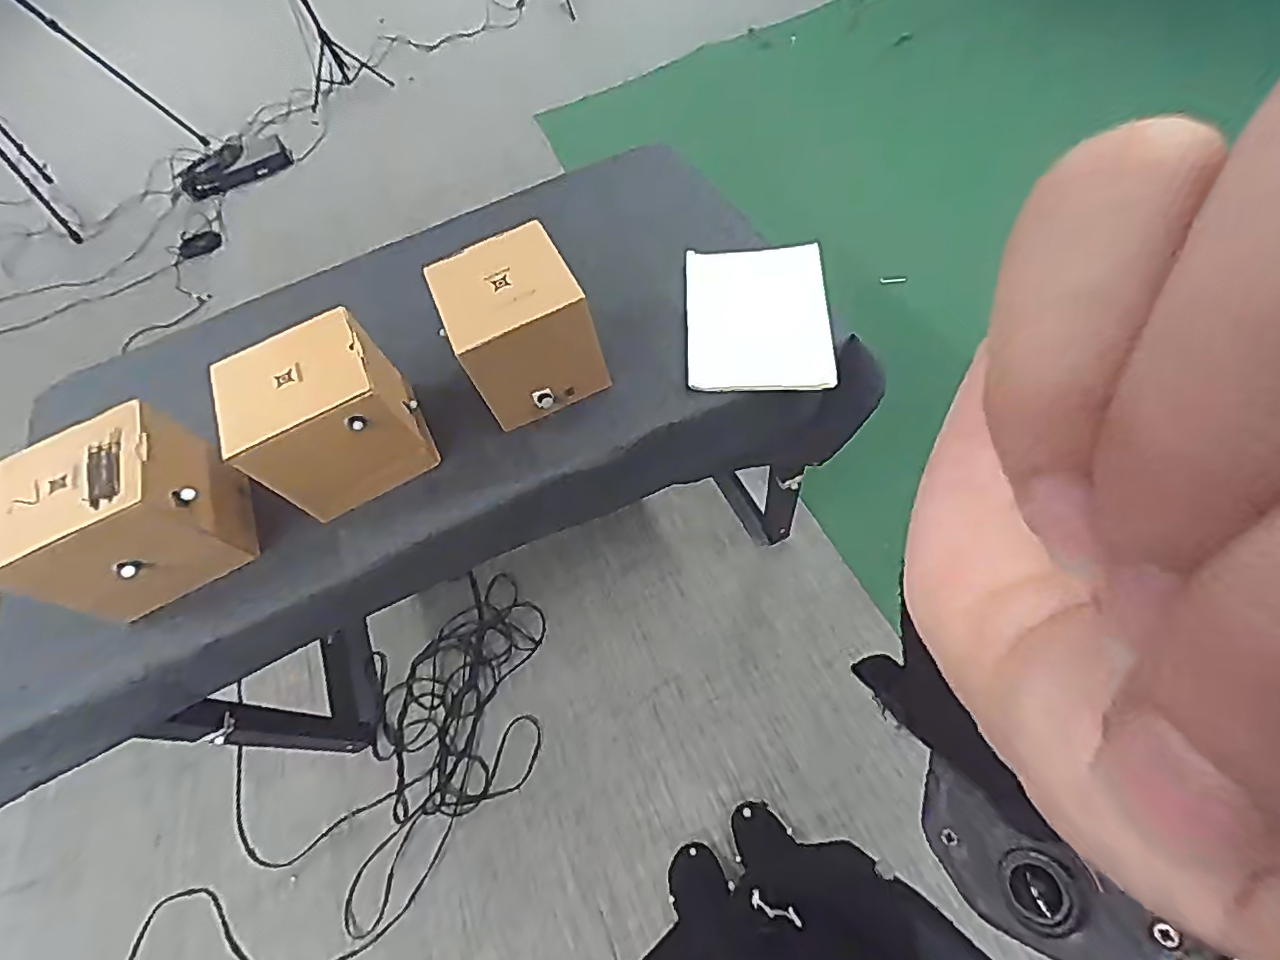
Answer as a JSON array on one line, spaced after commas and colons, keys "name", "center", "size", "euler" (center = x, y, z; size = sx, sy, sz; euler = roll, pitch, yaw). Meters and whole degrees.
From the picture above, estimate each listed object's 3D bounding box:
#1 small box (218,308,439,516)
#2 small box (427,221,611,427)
[{"name": "small box", "center": [-0.396, -0.081, 0.704], "size": [0.179, 0.176, 0.168], "euler": [-29, 60, -8]}, {"name": "small box", "center": [-0.157, -0.205, 0.734], "size": [0.168, 0.176, 0.179], "euler": [-27, 61, -5]}]
